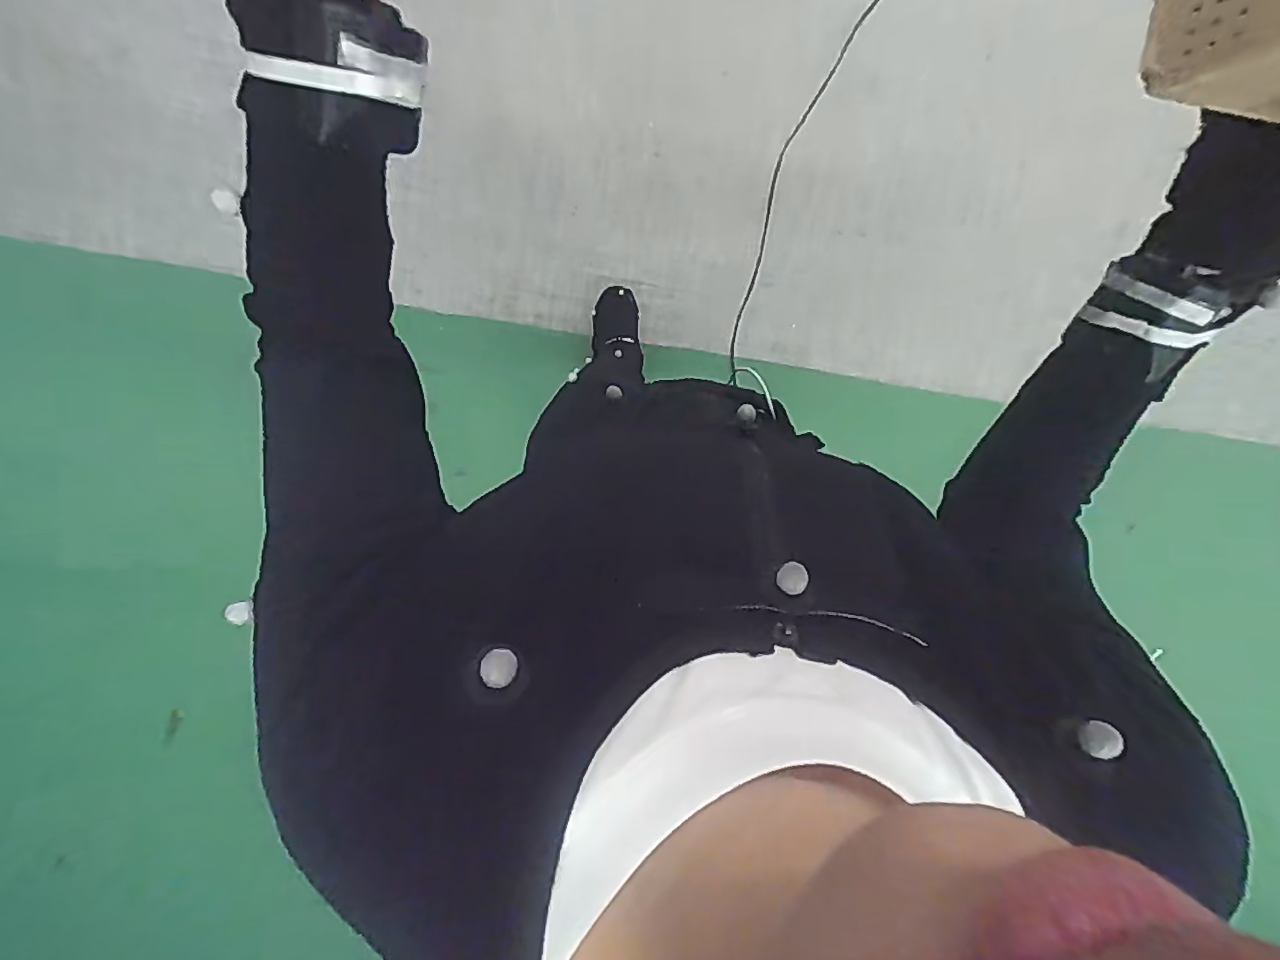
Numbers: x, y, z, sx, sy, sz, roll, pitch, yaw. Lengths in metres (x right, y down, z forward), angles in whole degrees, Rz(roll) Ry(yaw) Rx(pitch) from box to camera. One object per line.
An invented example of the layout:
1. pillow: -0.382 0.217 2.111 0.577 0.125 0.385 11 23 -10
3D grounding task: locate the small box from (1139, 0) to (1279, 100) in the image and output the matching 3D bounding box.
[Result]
1. small box: 0.291 -0.227 0.143 0.179 0.176 0.168 -12 109 -24
